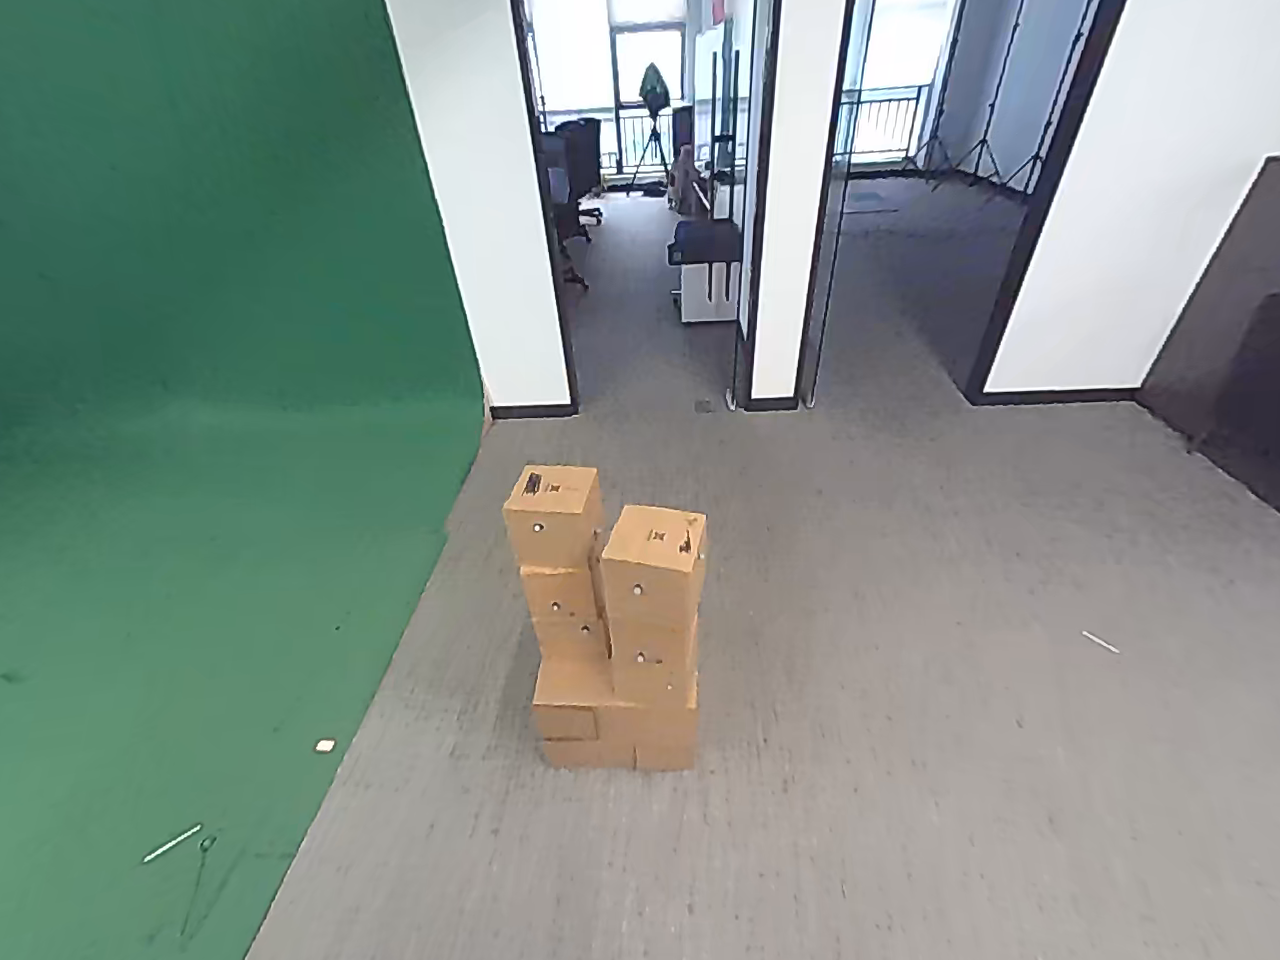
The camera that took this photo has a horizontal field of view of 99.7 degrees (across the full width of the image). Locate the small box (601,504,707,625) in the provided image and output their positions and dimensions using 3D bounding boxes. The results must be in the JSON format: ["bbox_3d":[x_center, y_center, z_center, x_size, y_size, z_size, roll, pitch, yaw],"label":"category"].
[{"bbox_3d":[0.036,0.170,1.095,0.179,0.176,0.168,7,38,15],"label":"small box"}]

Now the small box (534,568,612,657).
[{"bbox_3d":[-0.165,0.349,1.426,0.179,0.176,0.168,-2,35,3],"label":"small box"}]

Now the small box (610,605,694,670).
[{"bbox_3d":[0.035,0.292,1.208,0.168,0.176,0.179,4,37,11],"label":"small box"}]

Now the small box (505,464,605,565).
[{"bbox_3d":[-0.186,0.079,1.241,0.179,0.176,0.168,3,37,9],"label":"small box"}]

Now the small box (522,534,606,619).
[{"bbox_3d":[-0.178,0.217,1.331,0.168,0.176,0.179,0,37,5],"label":"small box"}]
